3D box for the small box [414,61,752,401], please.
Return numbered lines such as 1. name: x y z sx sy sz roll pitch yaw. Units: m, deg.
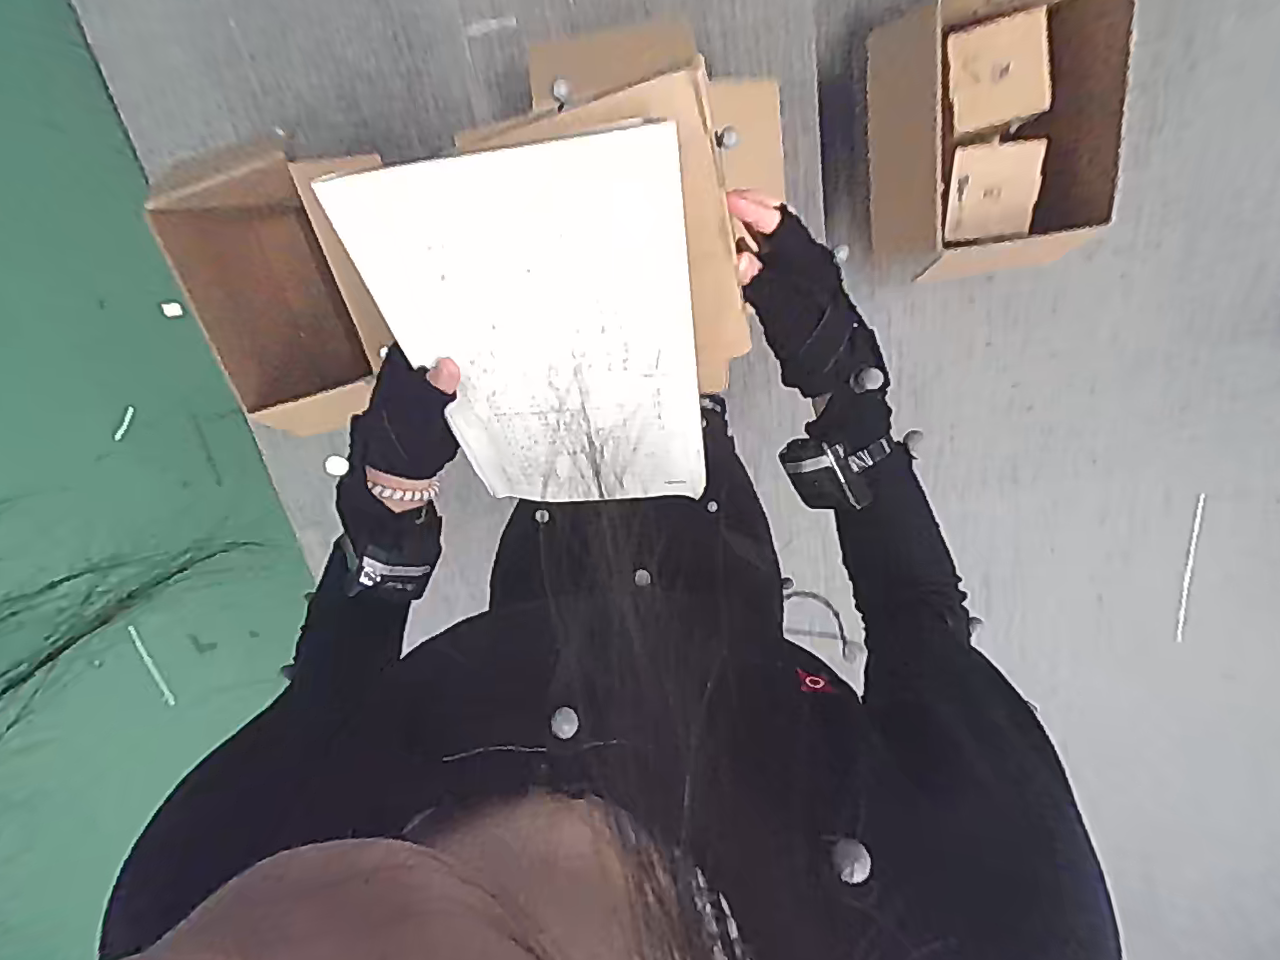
1. small box: -0.021 -0.184 0.398 0.179 0.176 0.168 -9 127 14
